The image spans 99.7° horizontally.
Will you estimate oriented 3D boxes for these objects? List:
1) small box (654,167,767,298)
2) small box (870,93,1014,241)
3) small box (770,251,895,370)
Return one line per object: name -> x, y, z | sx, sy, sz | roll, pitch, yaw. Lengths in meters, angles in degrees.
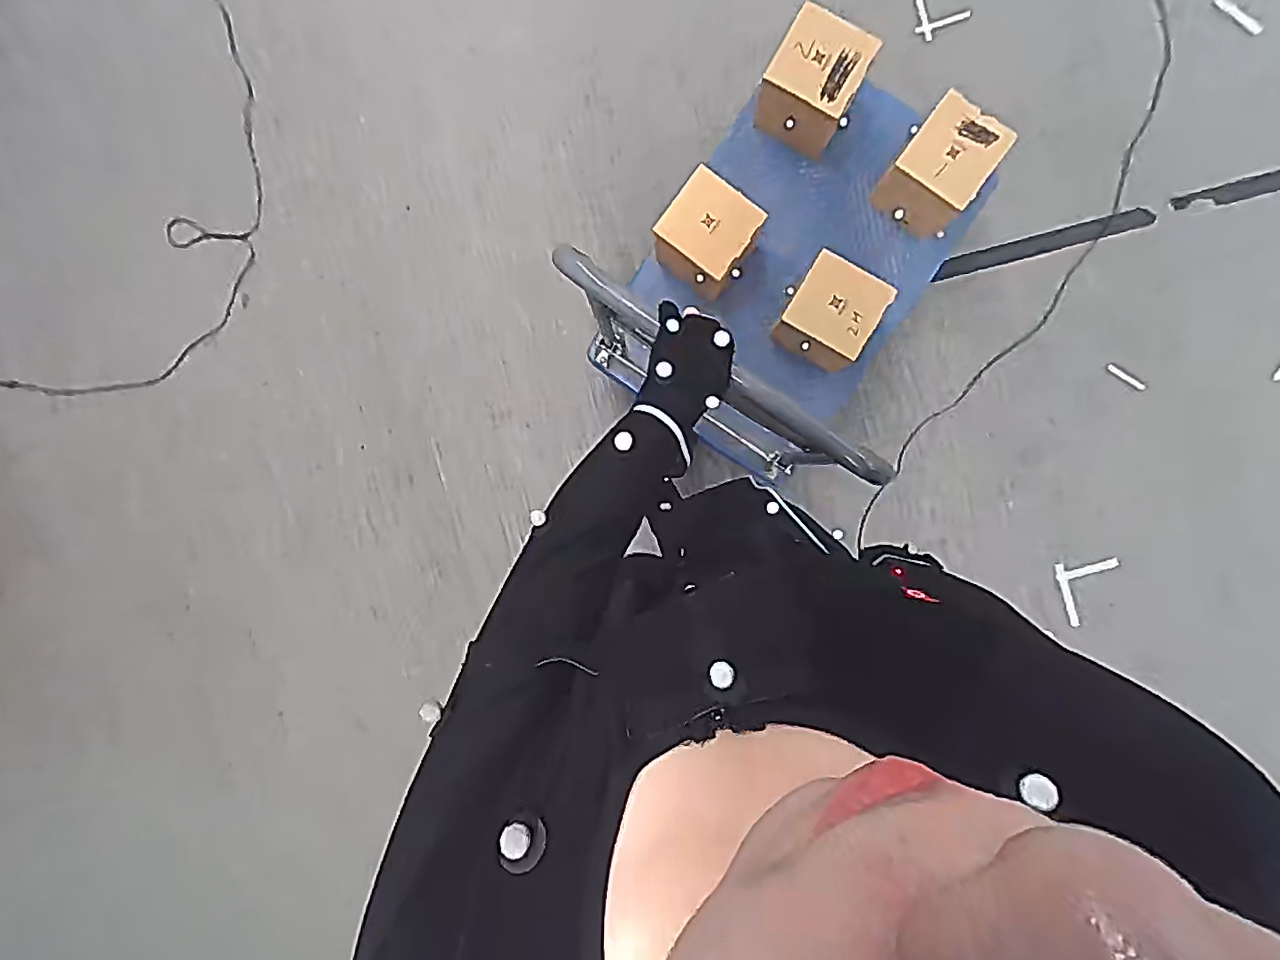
small box -> 0.145, -0.526, 1.181 | 0.179, 0.176, 0.168 | 37, 95, -1
small box -> 0.623, -0.649, 1.144 | 0.168, 0.176, 0.179 | 36, 96, 1
small box -> 0.404, -0.356, 1.175 | 0.179, 0.176, 0.168 | 31, 95, 1
